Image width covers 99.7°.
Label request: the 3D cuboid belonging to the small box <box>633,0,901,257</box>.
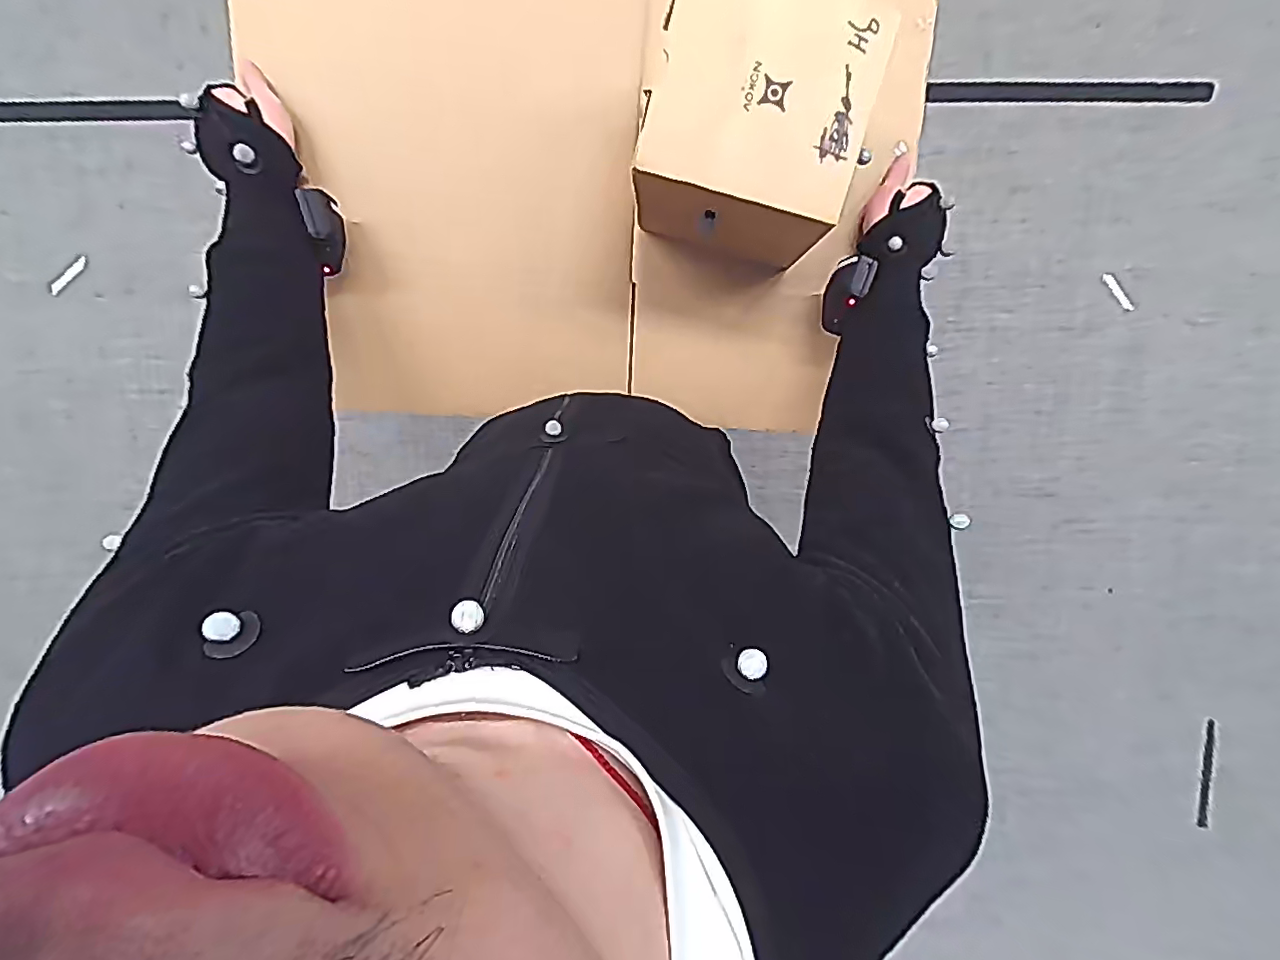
[{"bbox_3d":[0.102,-0.328,0.509,0.179,0.176,0.168,16,100,0],"label":"small box"}]
